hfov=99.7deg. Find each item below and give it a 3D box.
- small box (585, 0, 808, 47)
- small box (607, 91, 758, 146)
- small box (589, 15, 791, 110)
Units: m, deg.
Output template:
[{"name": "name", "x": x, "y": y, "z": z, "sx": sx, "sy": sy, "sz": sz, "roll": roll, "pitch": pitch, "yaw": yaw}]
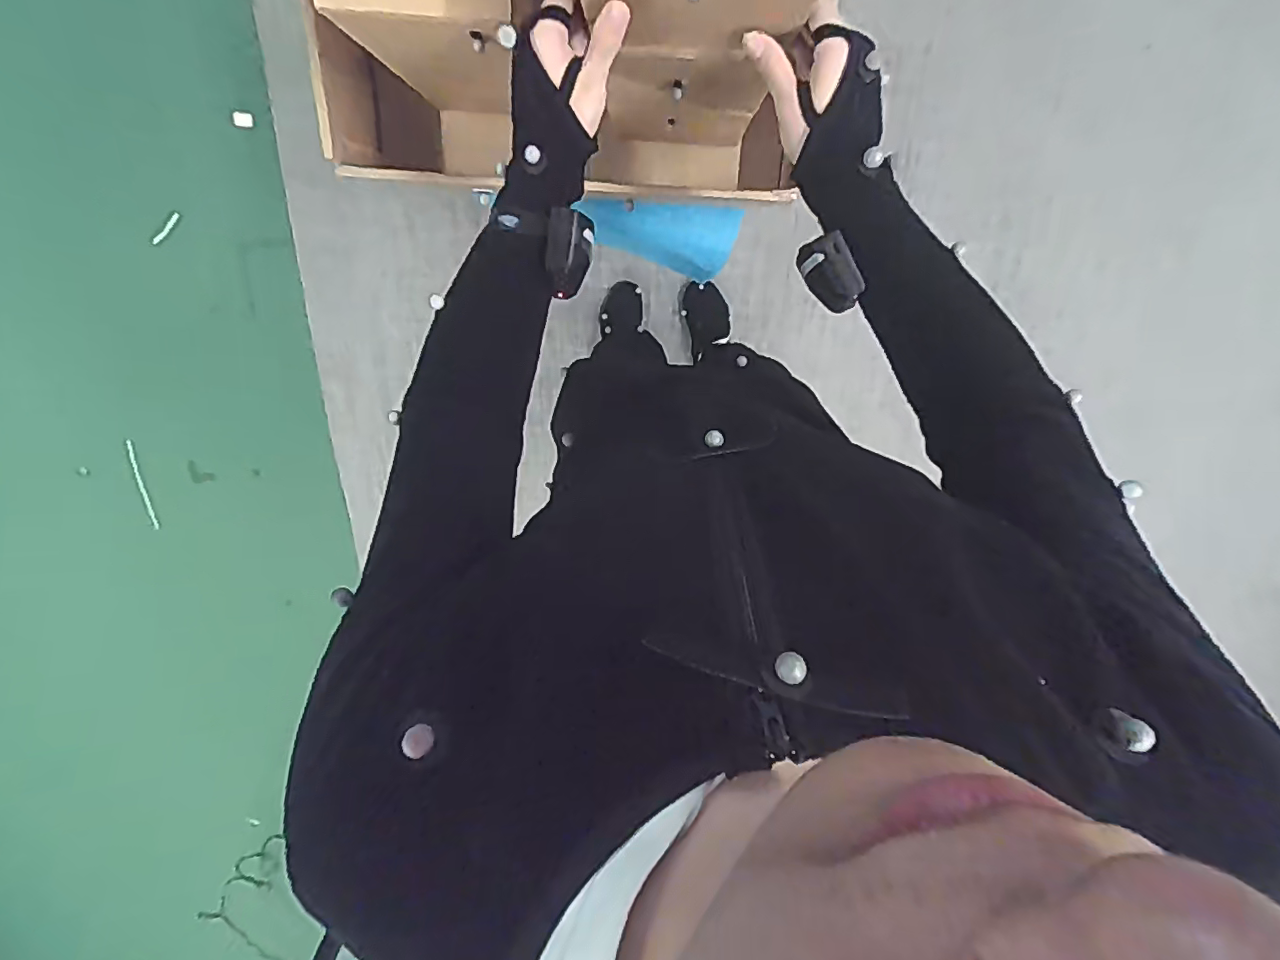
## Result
[{"name": "small box", "x": 0.045, "y": -0.421, "z": 0.359, "sx": 0.179, "sy": 0.176, "sz": 0.168, "roll": 4, "pitch": 111, "yaw": 1}, {"name": "small box", "x": 0.060, "y": -0.530, "z": 0.671, "sx": 0.179, "sy": 0.176, "sz": 0.168, "roll": 5, "pitch": 111, "yaw": 2}, {"name": "small box", "x": 0.051, "y": -0.475, "z": 0.517, "sx": 0.179, "sy": 0.176, "sz": 0.168, "roll": 4, "pitch": 110, "yaw": 3}]
